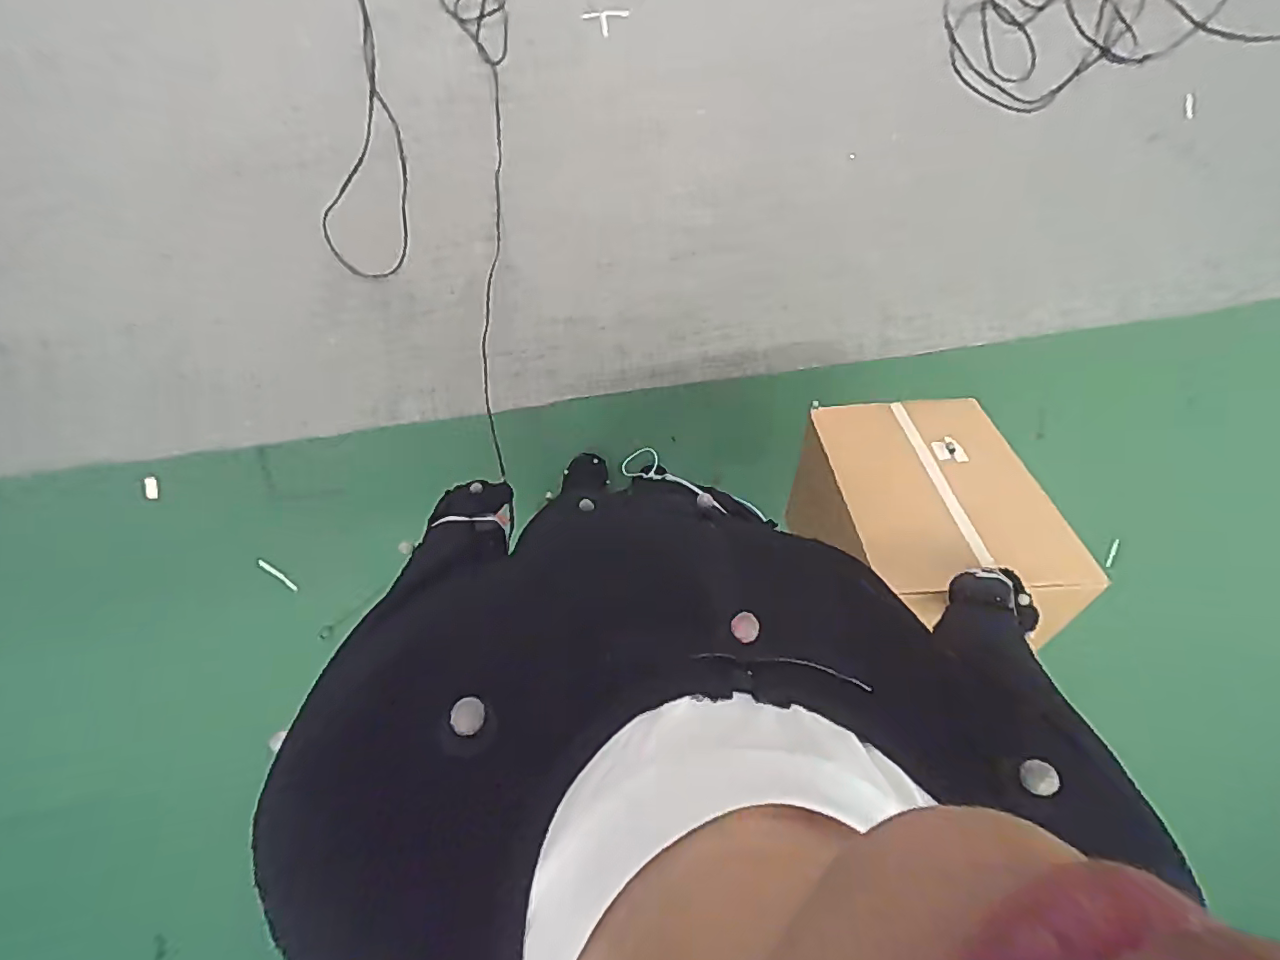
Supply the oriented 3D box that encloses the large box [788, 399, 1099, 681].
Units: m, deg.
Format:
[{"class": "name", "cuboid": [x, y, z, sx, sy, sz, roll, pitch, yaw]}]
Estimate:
[{"class": "large box", "cuboid": [0.486, 0.104, 0.991, 0.320, 0.408, 0.320, -4, 136, 0]}]
